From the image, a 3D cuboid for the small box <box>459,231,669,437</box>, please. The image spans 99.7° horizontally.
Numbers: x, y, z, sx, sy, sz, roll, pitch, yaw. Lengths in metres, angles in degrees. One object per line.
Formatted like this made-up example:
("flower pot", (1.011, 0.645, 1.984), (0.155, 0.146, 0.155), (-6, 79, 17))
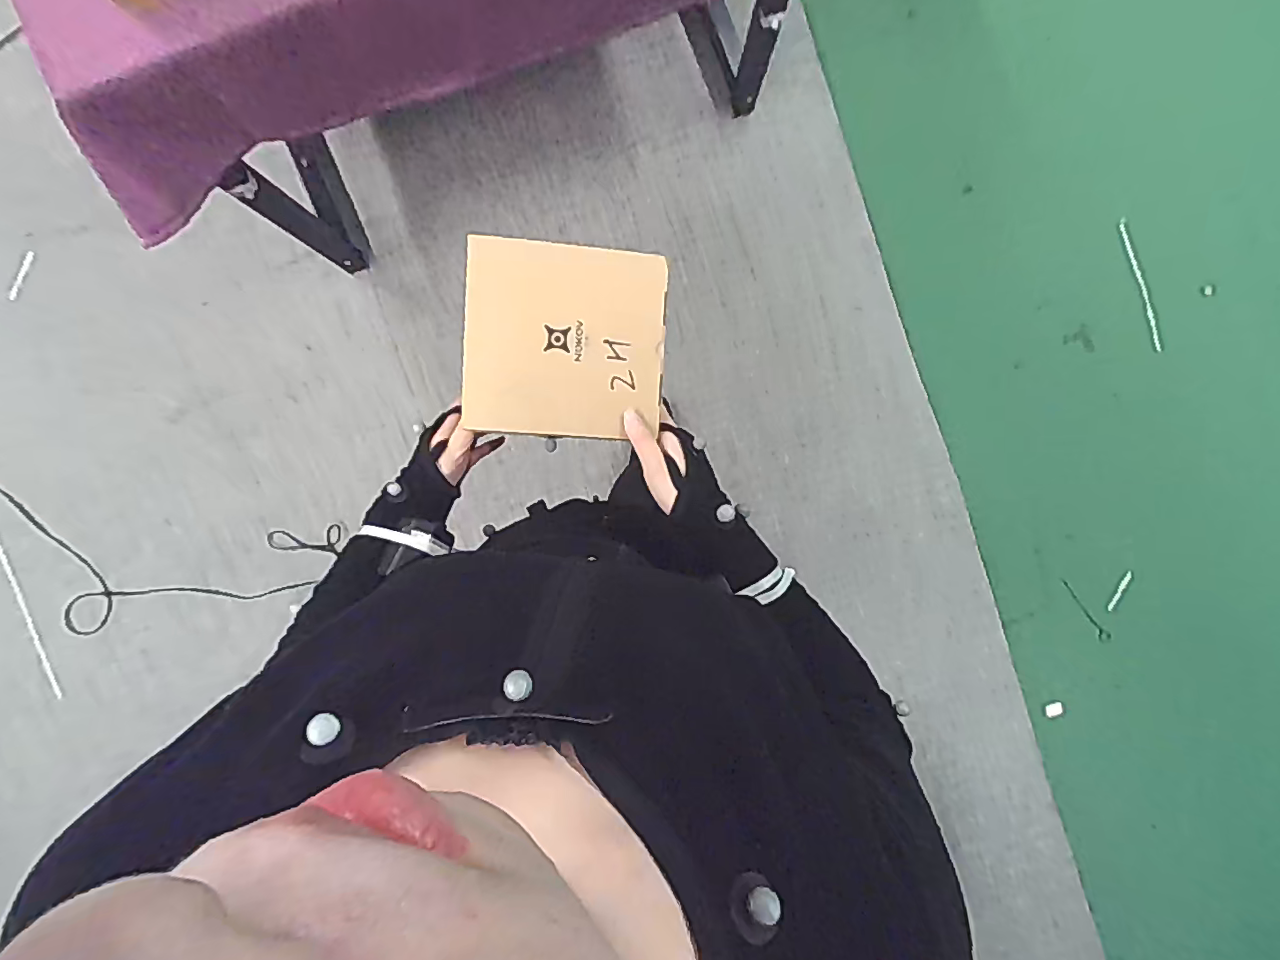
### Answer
("small box", (-0.077, -0.132, 0.553), (0.179, 0.176, 0.168), (3, 94, -10))
